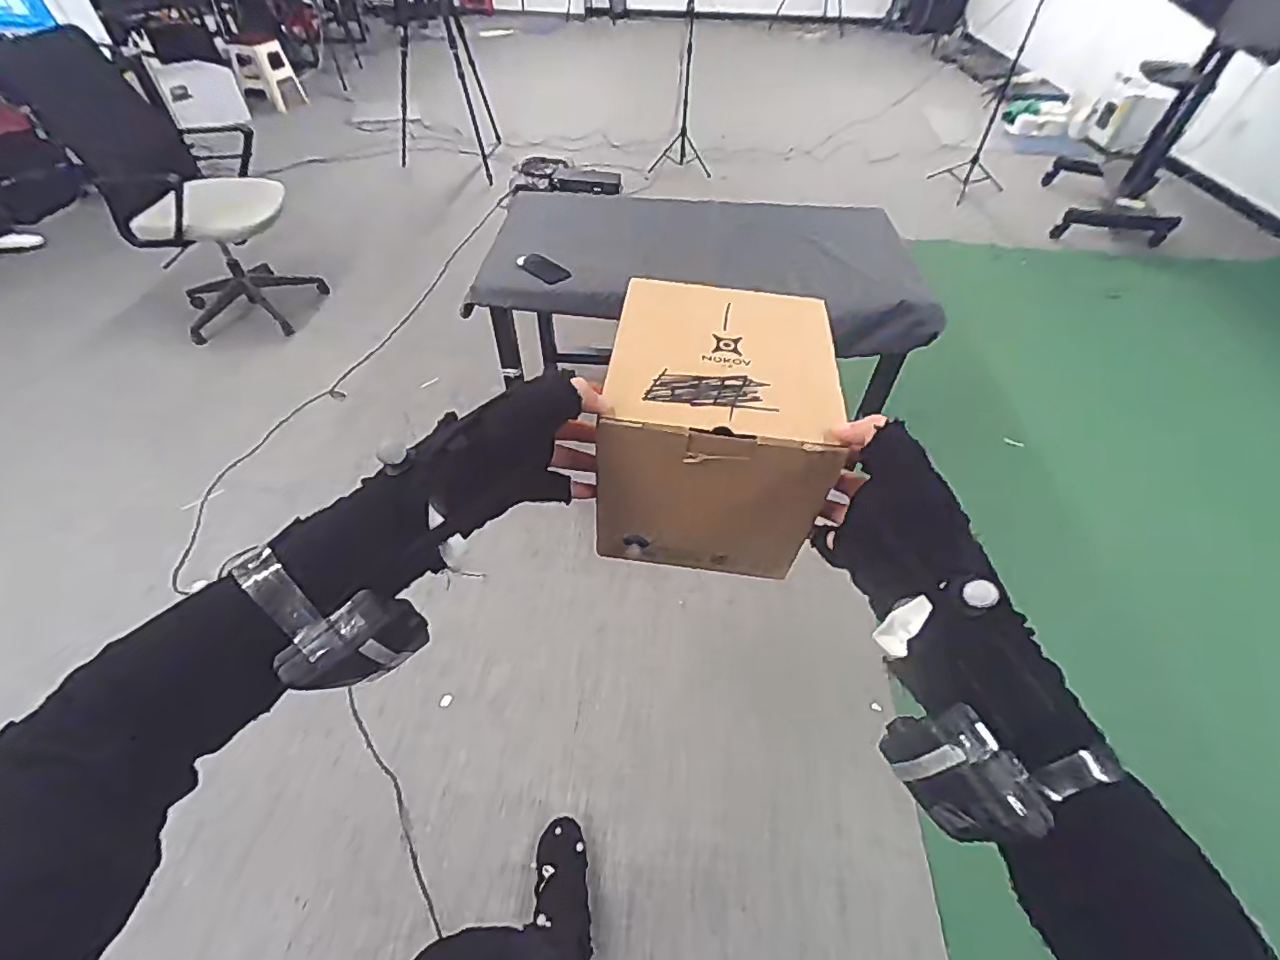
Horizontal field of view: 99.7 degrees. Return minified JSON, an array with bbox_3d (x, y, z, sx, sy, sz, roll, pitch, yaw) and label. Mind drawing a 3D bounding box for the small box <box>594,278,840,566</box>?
[{"bbox_3d":[0.057,-0.045,0.467,0.168,0.176,0.179,8,50,1],"label":"small box"}]
